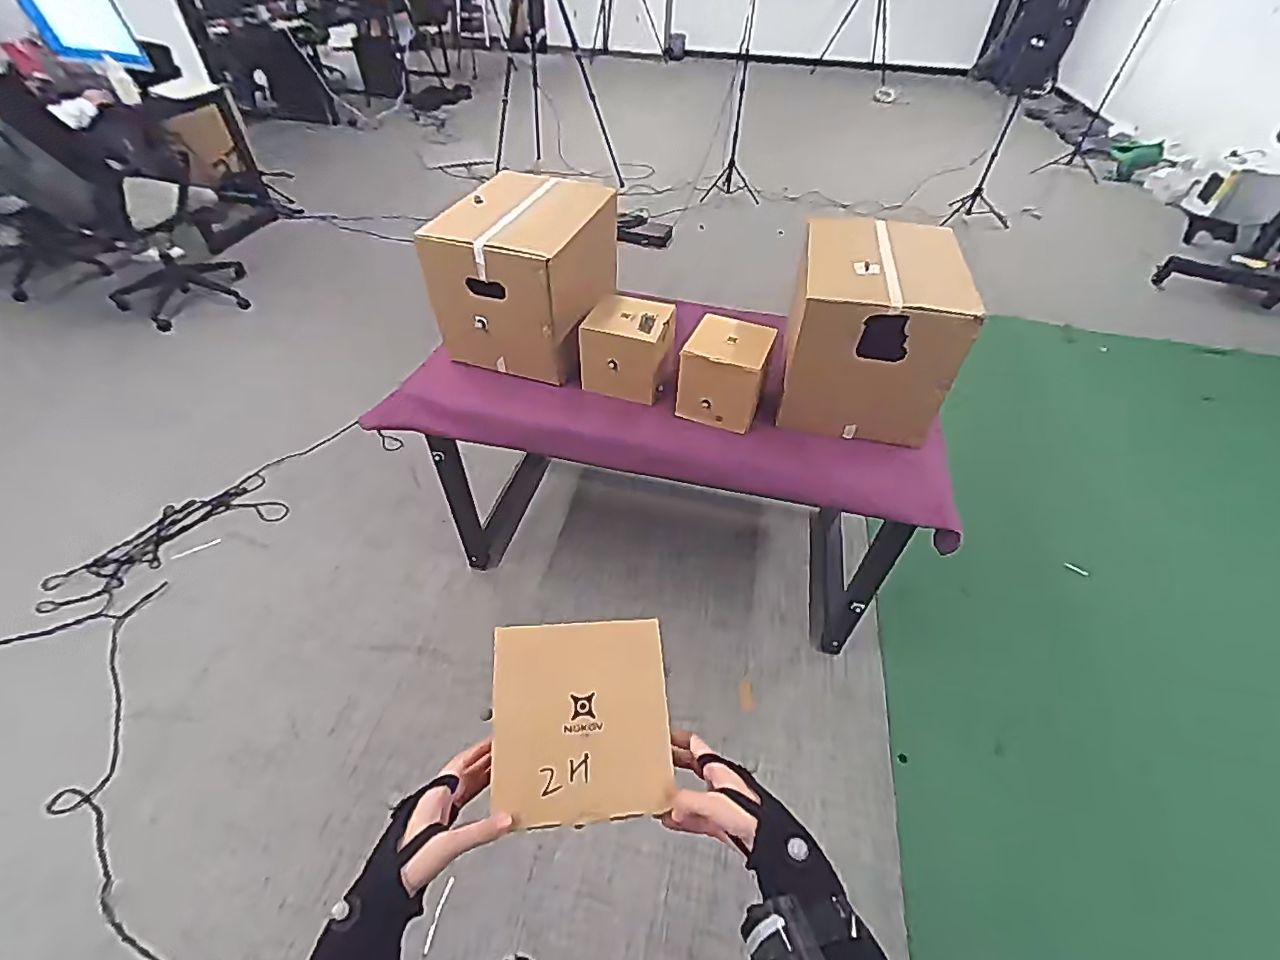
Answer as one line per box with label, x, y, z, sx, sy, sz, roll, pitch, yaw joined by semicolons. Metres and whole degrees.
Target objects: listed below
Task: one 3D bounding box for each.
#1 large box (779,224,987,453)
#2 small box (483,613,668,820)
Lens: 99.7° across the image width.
large box;0.496;-0.322;1.200;0.320;0.320;0.408;9;47;10
small box;-0.071;0.250;0.579;0.168;0.176;0.179;1;64;-9
